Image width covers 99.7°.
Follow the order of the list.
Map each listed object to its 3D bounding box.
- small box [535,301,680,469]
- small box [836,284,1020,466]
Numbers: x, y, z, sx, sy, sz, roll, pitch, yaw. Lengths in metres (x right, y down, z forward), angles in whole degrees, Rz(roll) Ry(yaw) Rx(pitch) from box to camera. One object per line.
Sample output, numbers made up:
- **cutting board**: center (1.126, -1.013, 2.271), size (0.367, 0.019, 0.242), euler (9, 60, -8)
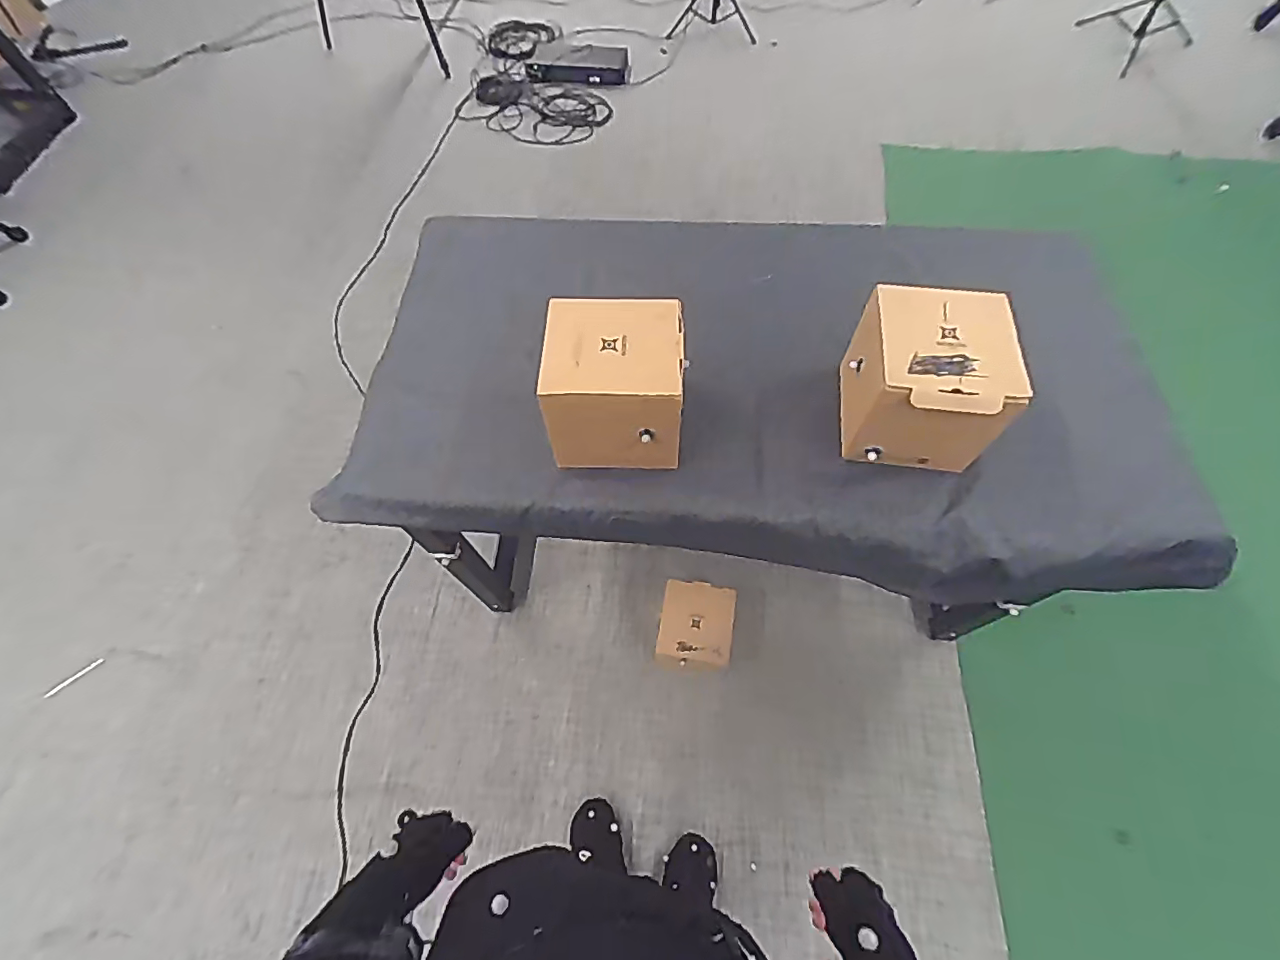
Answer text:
- **small box**: center (-0.036, -0.126, 0.751), size (0.179, 0.176, 0.168), euler (-1, 60, 2)
- **small box**: center (0.375, -0.137, 0.739), size (0.168, 0.176, 0.179), euler (8, 62, 6)
